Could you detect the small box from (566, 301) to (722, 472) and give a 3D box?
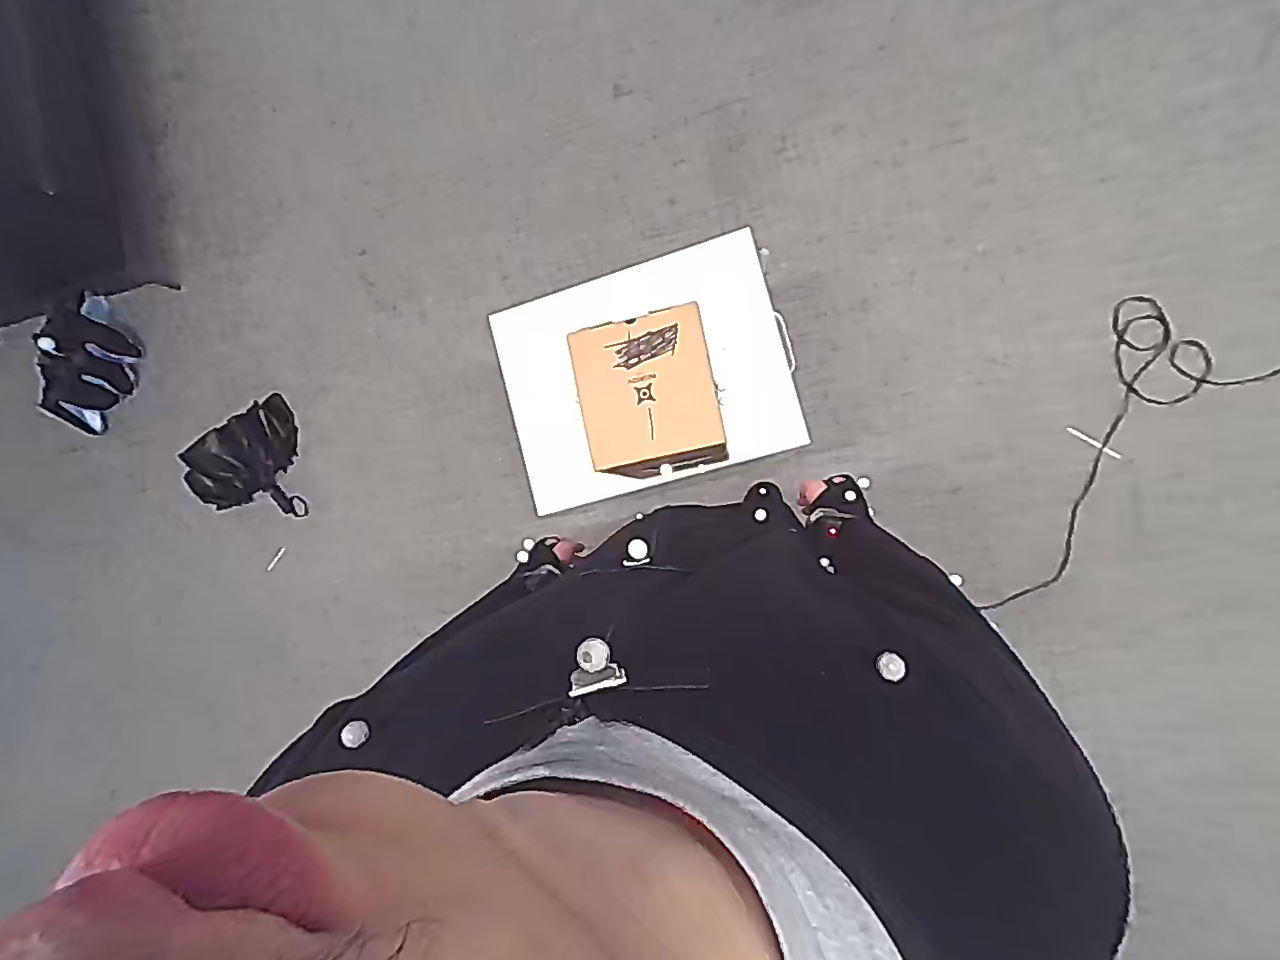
[{"bbox_3d":[0.014,-0.113,0.730,0.168,0.176,0.179,-12,87,9],"label":"small box"}]
